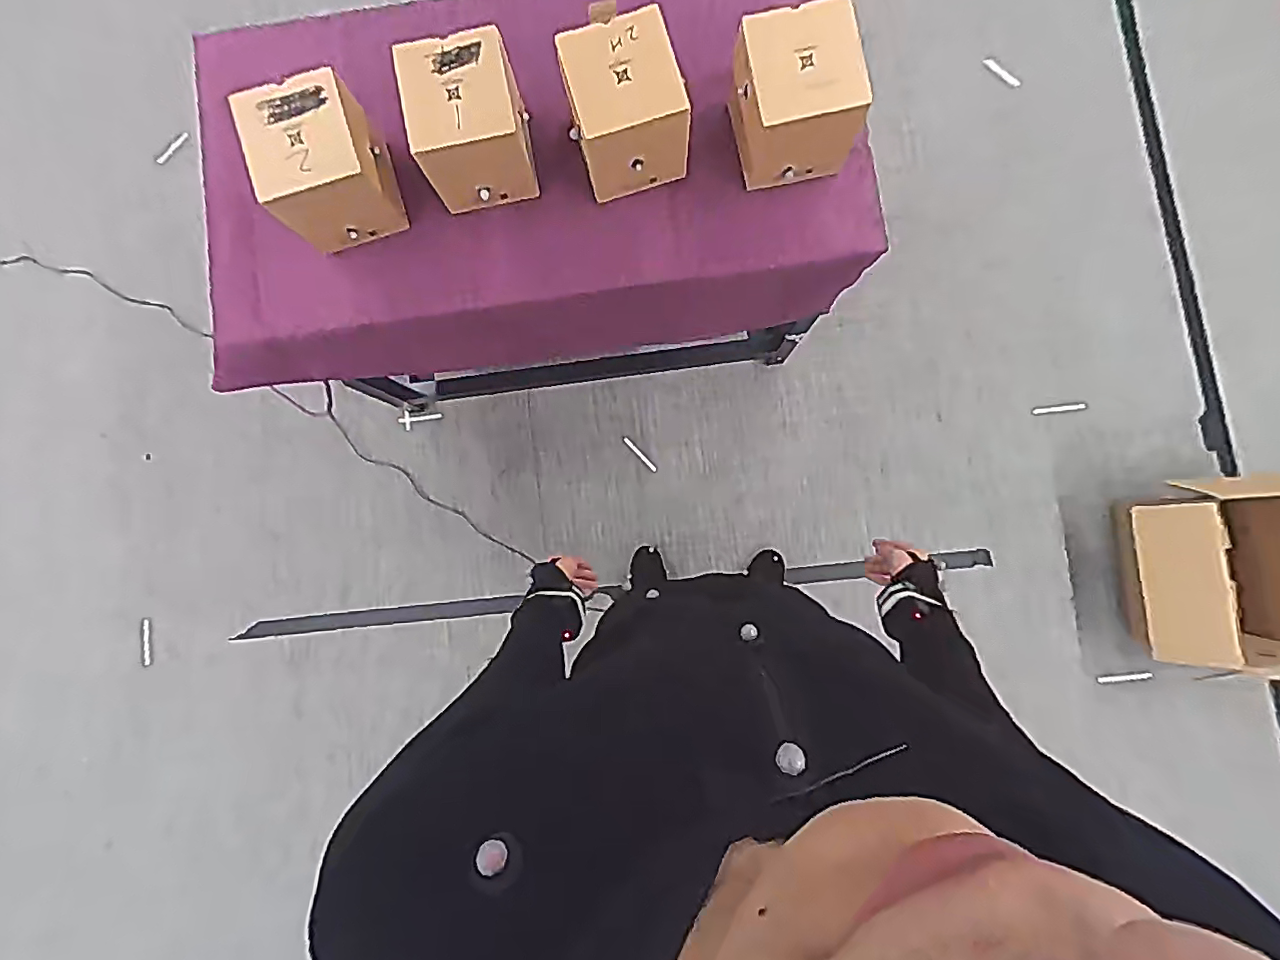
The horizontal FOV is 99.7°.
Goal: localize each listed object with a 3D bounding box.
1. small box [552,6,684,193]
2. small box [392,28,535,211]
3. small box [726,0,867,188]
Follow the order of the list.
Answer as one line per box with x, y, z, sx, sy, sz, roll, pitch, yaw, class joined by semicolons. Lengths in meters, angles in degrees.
-0.029;-0.606;0.889;0.168;0.176;0.179;-17;85;0;small box
-0.283;-0.584;0.897;0.168;0.176;0.179;-11;86;1;small box
0.242;-0.618;0.882;0.168;0.176;0.179;-11;85;2;small box
